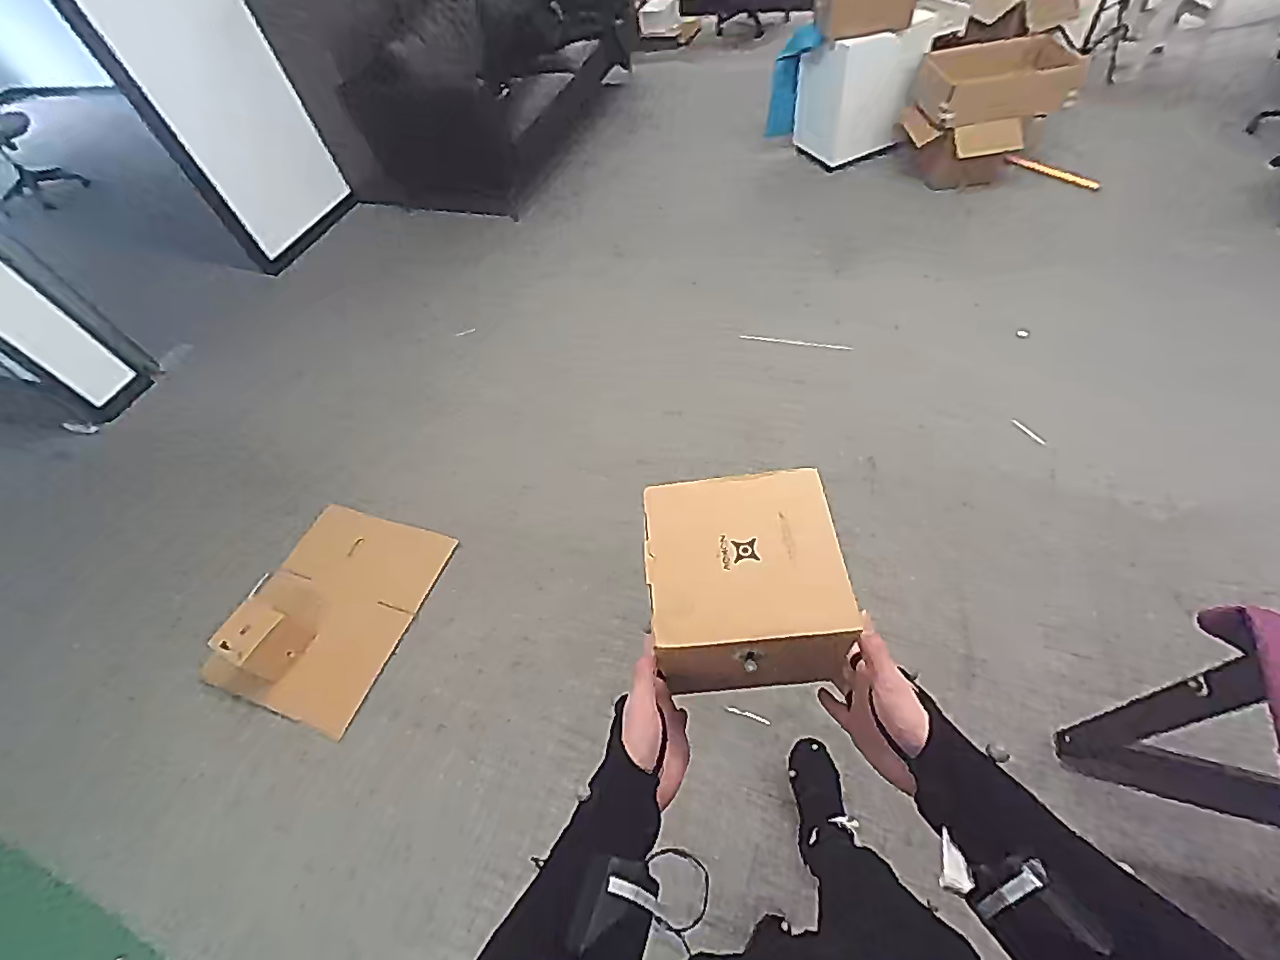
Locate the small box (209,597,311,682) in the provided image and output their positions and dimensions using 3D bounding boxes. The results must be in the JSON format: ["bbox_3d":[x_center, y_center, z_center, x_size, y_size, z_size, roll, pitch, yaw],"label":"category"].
[{"bbox_3d":[-1.182,0.504,1.704,0.168,0.176,0.179,20,60,22],"label":"small box"}]

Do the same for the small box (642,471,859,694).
[{"bbox_3d":[0.102,0.113,0.558,0.179,0.176,0.168,-7,55,4],"label":"small box"}]
